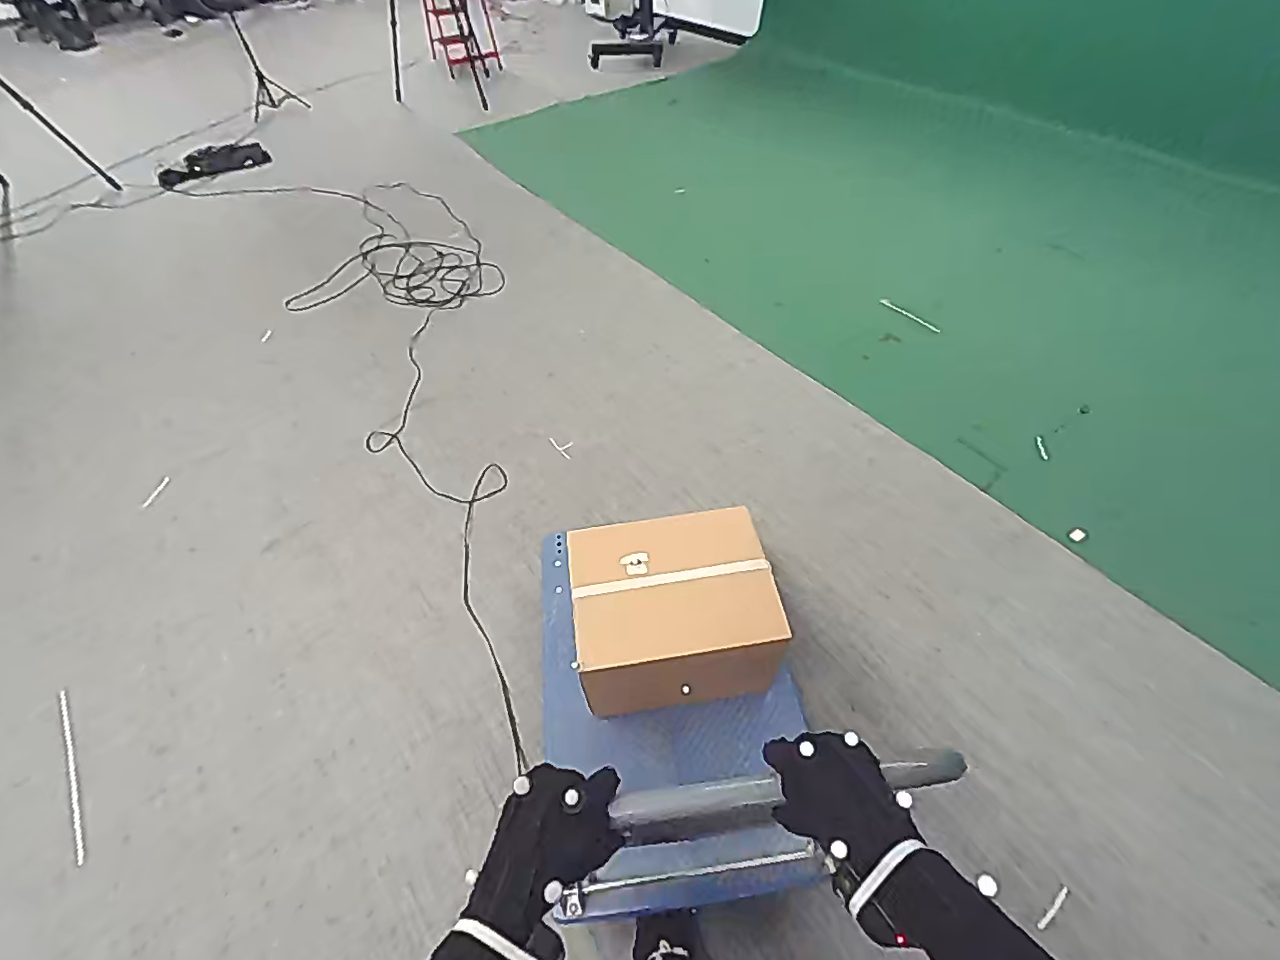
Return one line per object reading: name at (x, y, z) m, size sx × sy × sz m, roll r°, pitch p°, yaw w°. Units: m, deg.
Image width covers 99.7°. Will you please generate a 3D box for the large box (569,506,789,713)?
large box at (0.073, 0.297, 1.217) m, size 0.408 × 0.320 × 0.320 m, roll -9°, pitch 52°, yaw -4°
